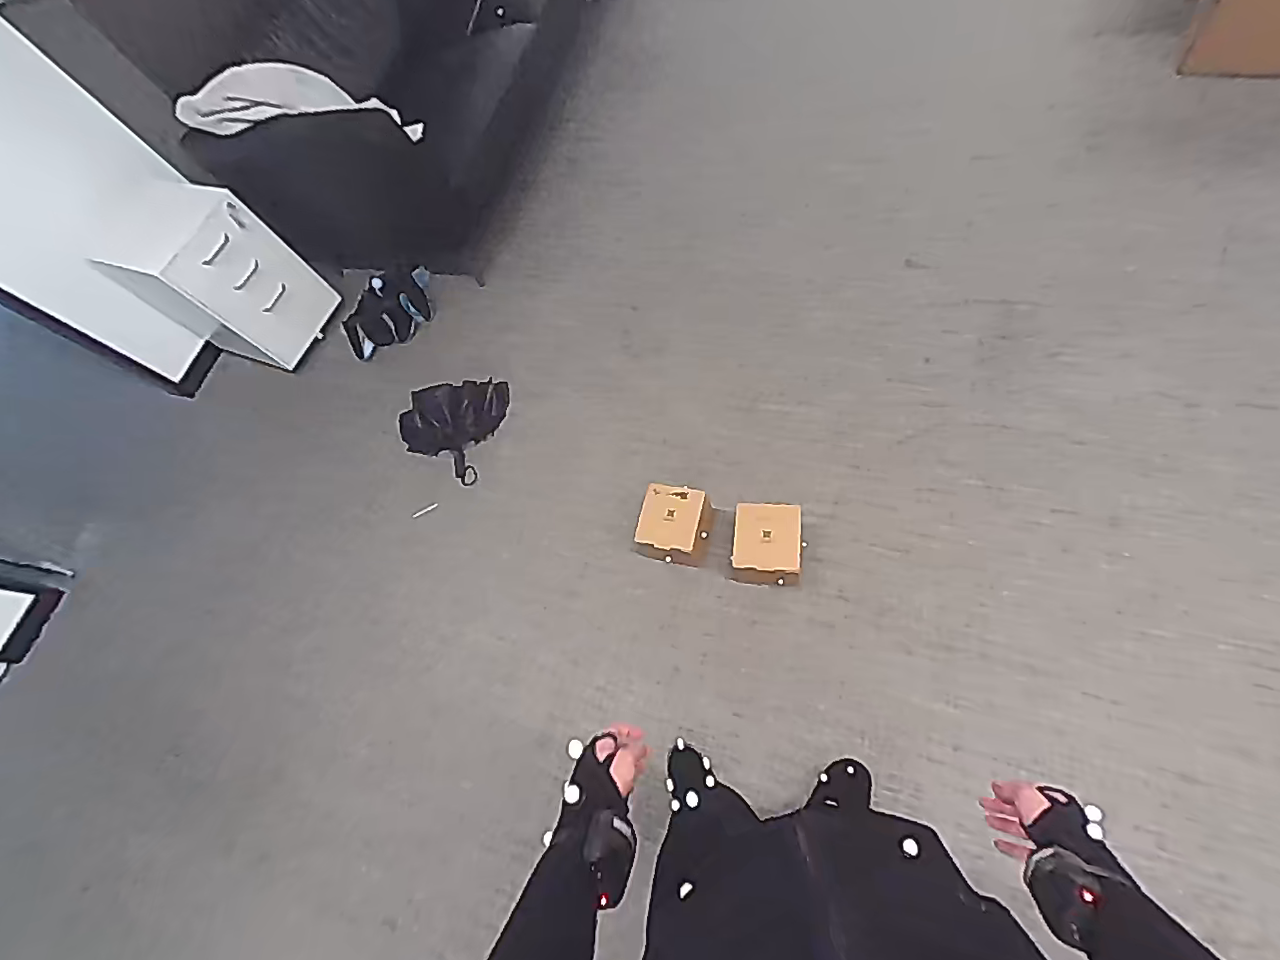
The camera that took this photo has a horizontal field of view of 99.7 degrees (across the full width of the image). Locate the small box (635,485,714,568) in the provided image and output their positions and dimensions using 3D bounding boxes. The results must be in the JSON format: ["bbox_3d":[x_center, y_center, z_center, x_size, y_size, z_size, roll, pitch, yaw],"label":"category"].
[{"bbox_3d":[0.104,0.135,1.515,0.168,0.176,0.179,9,69,20],"label":"small box"}]

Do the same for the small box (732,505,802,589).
[{"bbox_3d":[0.340,0.181,1.425,0.168,0.176,0.179,2,65,16],"label":"small box"}]
